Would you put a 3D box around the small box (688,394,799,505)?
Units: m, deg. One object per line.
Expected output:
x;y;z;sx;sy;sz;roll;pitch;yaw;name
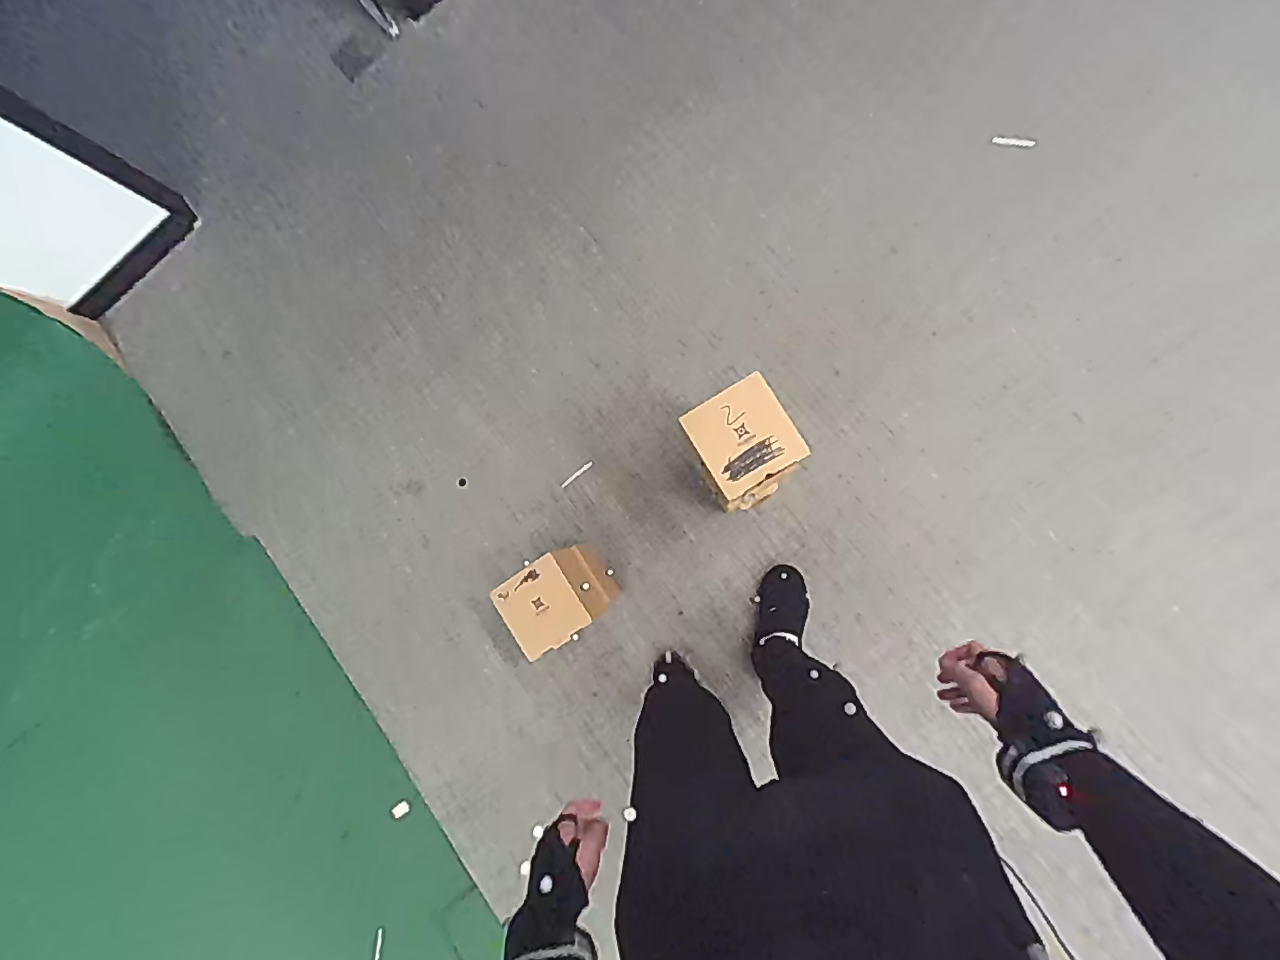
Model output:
0.218;-0.056;1.175;0.168;0.176;0.179;-32;83;5;small box

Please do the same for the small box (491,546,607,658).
-0.194;0.264;1.216;0.168;0.176;0.179;-34;84;5;small box

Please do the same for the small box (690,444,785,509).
0.238;-0.039;1.334;0.168;0.176;0.179;-27;84;8;small box

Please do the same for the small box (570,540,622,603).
-0.168;0.268;1.378;0.179;0.176;0.168;-33;83;5;small box
